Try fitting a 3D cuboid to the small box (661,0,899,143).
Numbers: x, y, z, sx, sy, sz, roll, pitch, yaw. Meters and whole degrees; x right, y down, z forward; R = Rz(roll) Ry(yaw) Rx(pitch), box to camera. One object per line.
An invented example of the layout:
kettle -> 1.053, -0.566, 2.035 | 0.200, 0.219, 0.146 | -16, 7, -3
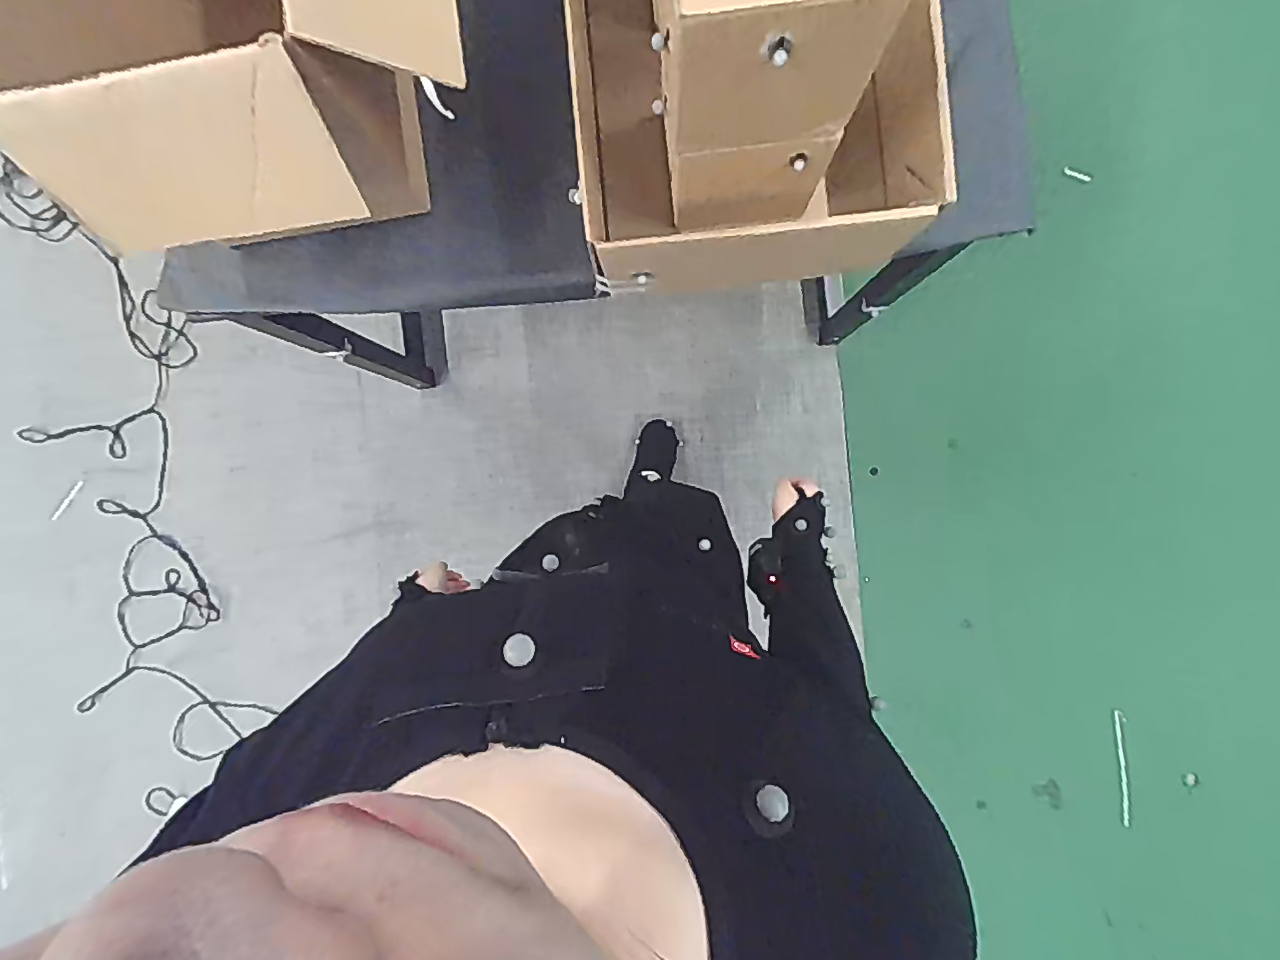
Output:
small box -> 0.110, -0.431, 0.479 | 0.179, 0.176, 0.168 | -6, 91, 1
